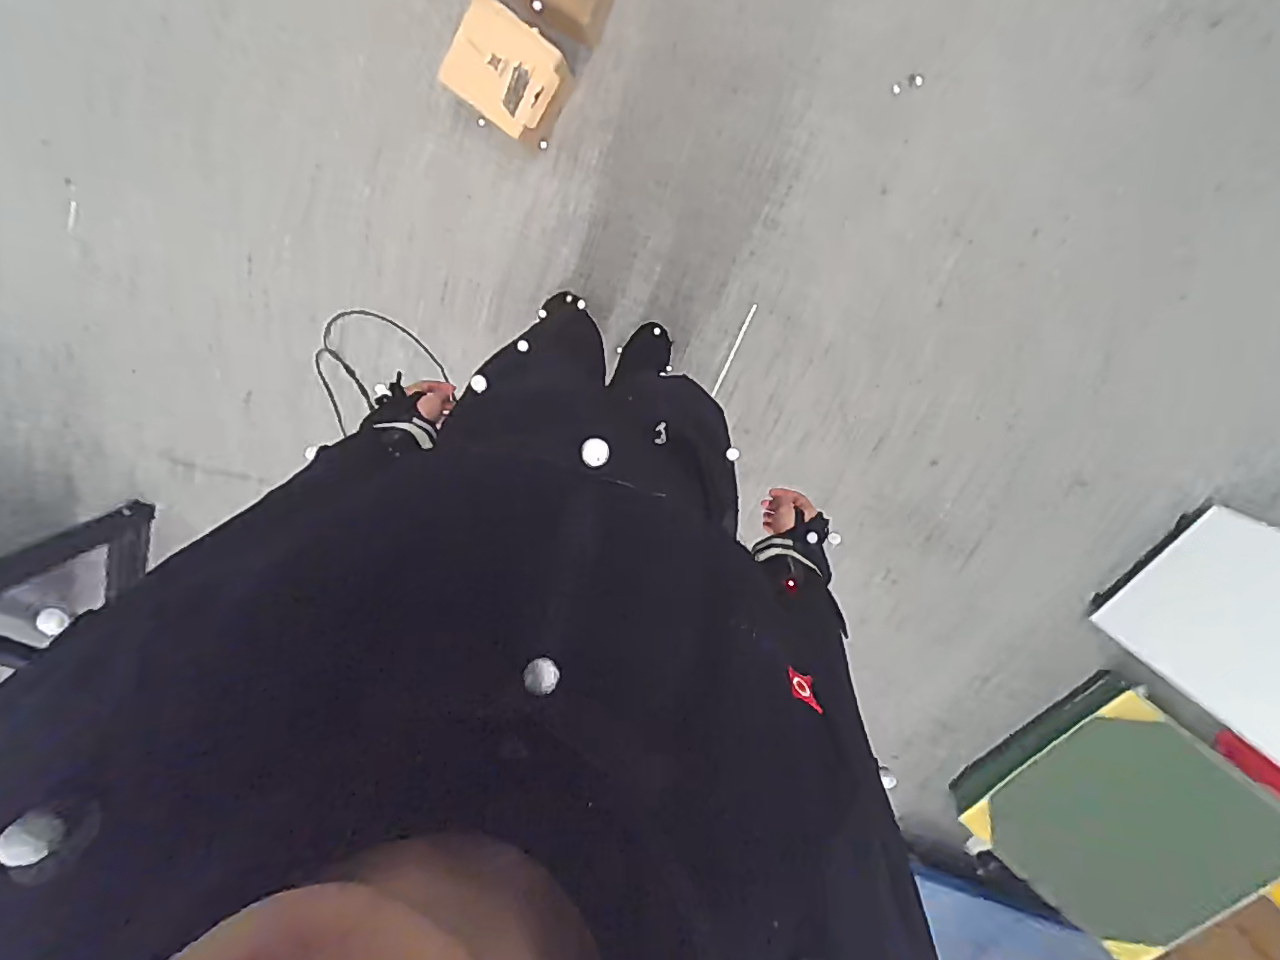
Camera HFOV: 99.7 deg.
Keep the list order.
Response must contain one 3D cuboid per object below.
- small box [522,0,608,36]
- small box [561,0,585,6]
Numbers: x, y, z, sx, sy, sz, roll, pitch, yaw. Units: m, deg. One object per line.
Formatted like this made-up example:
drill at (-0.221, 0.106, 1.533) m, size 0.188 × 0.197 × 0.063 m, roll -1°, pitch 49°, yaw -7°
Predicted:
small box at (-0.141, -0.957, 0.975) m, size 0.179 × 0.176 × 0.168 m, roll 26°, pitch 109°, yaw -7°
small box at (-0.136, -0.884, 0.828) m, size 0.179 × 0.176 × 0.168 m, roll 26°, pitch 109°, yaw -8°
